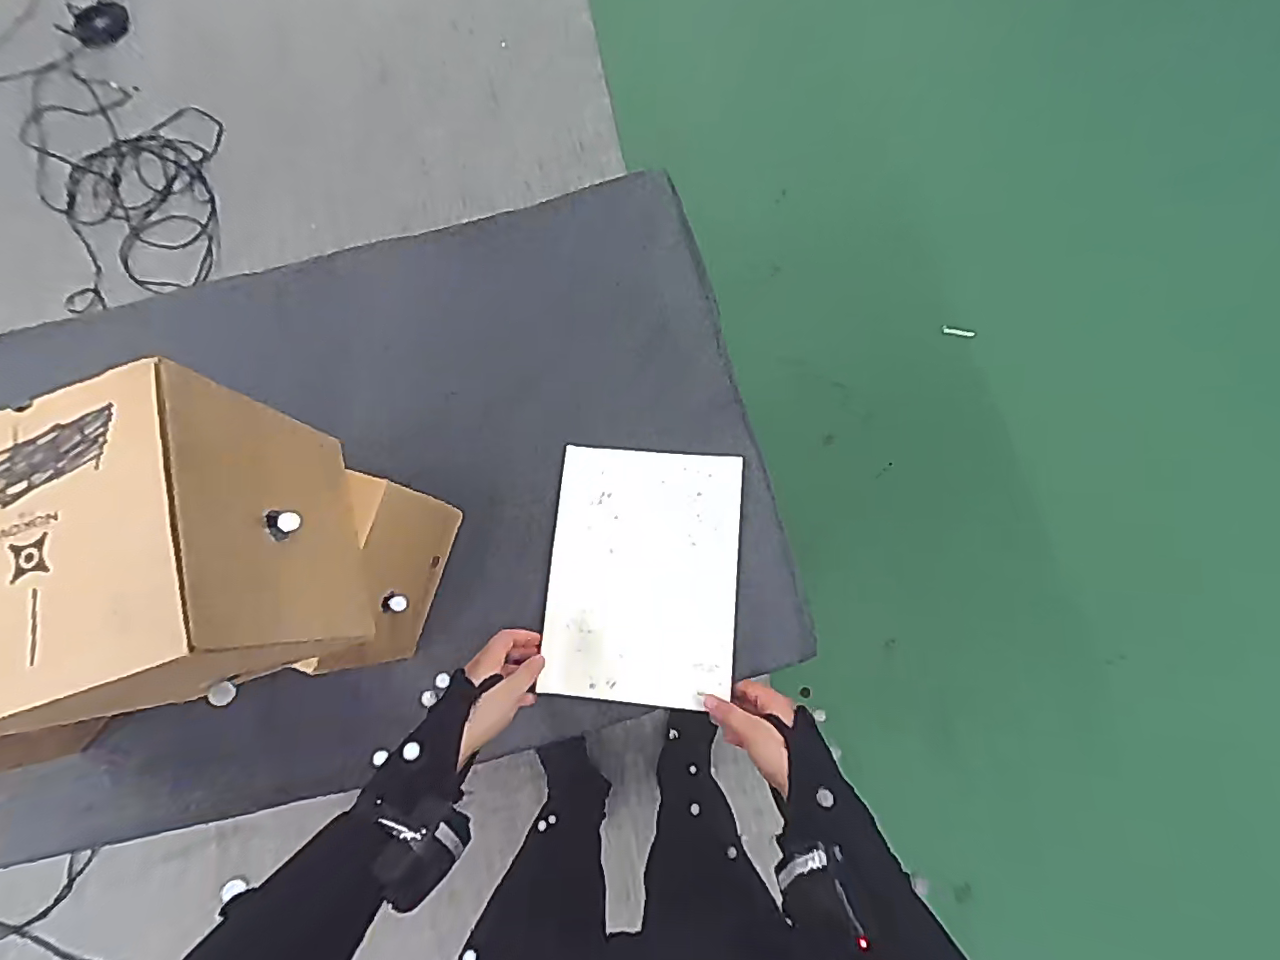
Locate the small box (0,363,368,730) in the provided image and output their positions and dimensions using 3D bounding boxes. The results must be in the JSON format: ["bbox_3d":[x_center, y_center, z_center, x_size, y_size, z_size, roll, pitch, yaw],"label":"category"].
[{"bbox_3d":[-0.319,0.053,0.369,0.168,0.176,0.179,-19,77,1],"label":"small box"}]

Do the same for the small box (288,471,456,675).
[{"bbox_3d":[-0.311,0.074,0.532,0.179,0.176,0.168,15,79,9],"label":"small box"}]
